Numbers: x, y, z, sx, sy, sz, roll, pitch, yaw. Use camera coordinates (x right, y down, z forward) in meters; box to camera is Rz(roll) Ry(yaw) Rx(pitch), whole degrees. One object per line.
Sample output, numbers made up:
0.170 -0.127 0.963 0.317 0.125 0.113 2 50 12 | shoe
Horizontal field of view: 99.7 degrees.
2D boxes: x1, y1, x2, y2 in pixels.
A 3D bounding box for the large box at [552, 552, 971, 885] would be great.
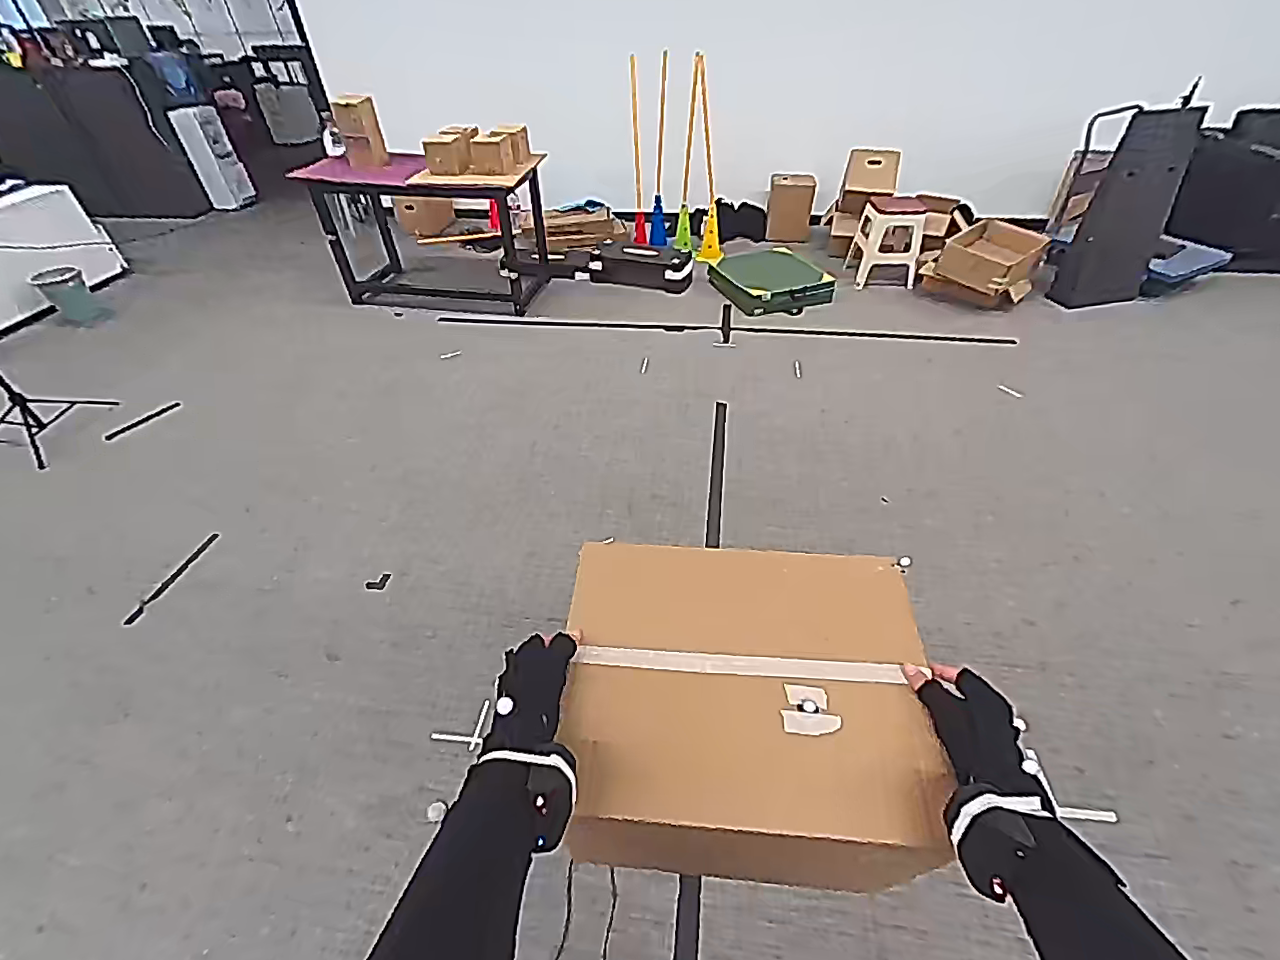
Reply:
0.123 0.316 0.719 0.408 0.320 0.320 2 48 4 | large box
